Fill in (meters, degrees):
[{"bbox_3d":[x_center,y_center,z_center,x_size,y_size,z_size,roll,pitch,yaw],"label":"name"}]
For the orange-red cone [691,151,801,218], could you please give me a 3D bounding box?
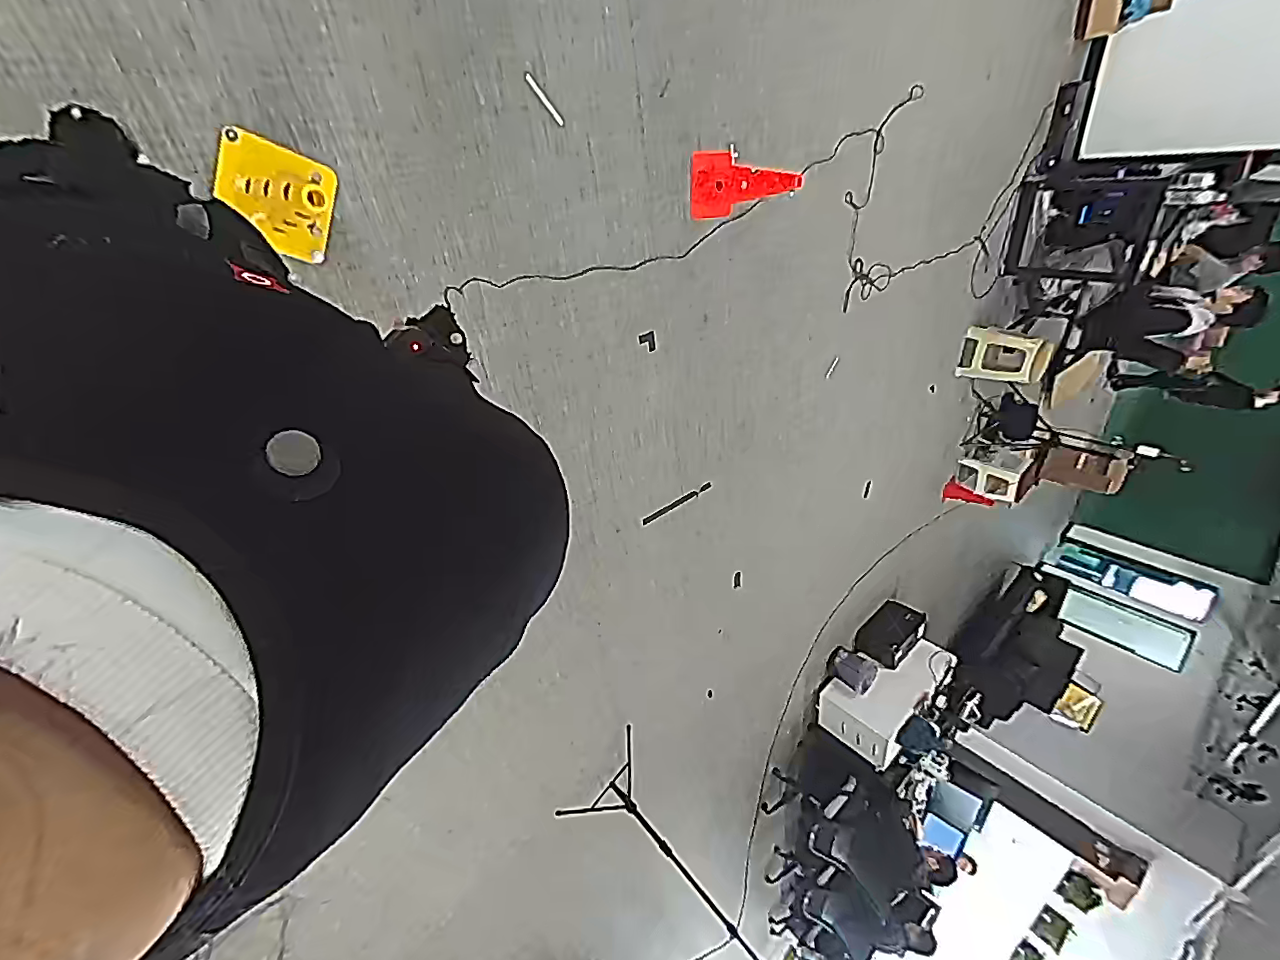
[{"bbox_3d":[0.350,-0.941,1.710,0.199,0.360,0.198,-21,123,-33],"label":"orange-red cone"}]
